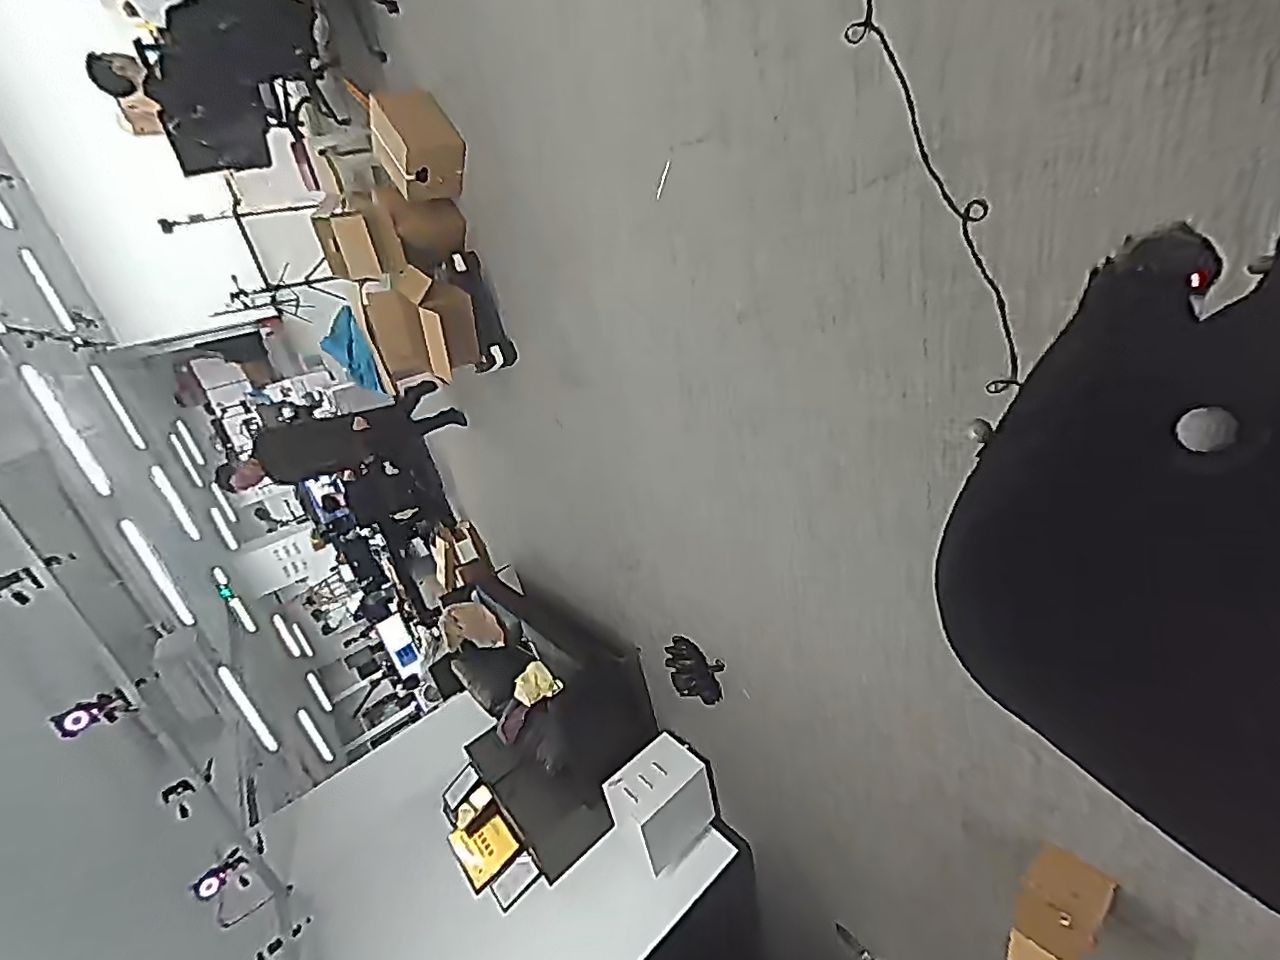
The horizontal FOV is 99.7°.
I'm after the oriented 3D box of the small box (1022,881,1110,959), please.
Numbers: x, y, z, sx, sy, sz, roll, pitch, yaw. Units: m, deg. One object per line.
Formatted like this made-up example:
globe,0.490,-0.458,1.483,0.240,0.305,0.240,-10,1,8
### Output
small box,1.249,1.345,1.586,0.168,0.176,0.179,14,124,49
